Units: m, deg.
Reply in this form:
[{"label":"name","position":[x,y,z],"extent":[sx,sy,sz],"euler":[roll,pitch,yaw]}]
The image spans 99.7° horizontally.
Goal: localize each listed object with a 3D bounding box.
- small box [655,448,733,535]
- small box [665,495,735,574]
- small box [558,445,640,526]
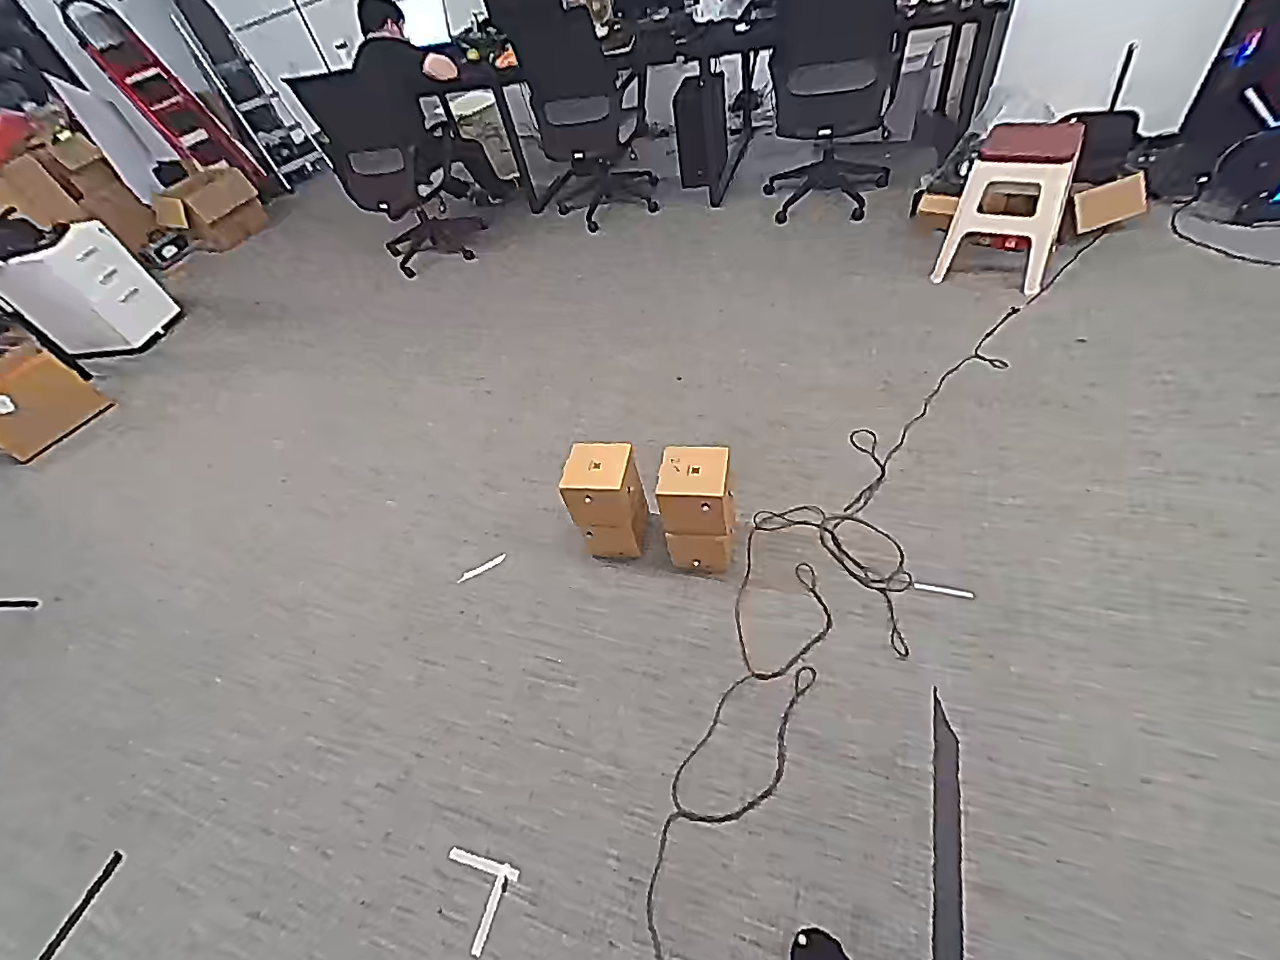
[{"label":"small box","position":[0.151,0.032,1.437],"extent":[0.179,0.176,0.168],"euler":[2,50,16]},{"label":"small box","position":[0.180,0.146,1.553],"extent":[0.168,0.176,0.179],"euler":[3,51,17]},{"label":"small box","position":[-0.106,0.018,1.518],"extent":[0.179,0.176,0.168],"euler":[1,50,15]}]
